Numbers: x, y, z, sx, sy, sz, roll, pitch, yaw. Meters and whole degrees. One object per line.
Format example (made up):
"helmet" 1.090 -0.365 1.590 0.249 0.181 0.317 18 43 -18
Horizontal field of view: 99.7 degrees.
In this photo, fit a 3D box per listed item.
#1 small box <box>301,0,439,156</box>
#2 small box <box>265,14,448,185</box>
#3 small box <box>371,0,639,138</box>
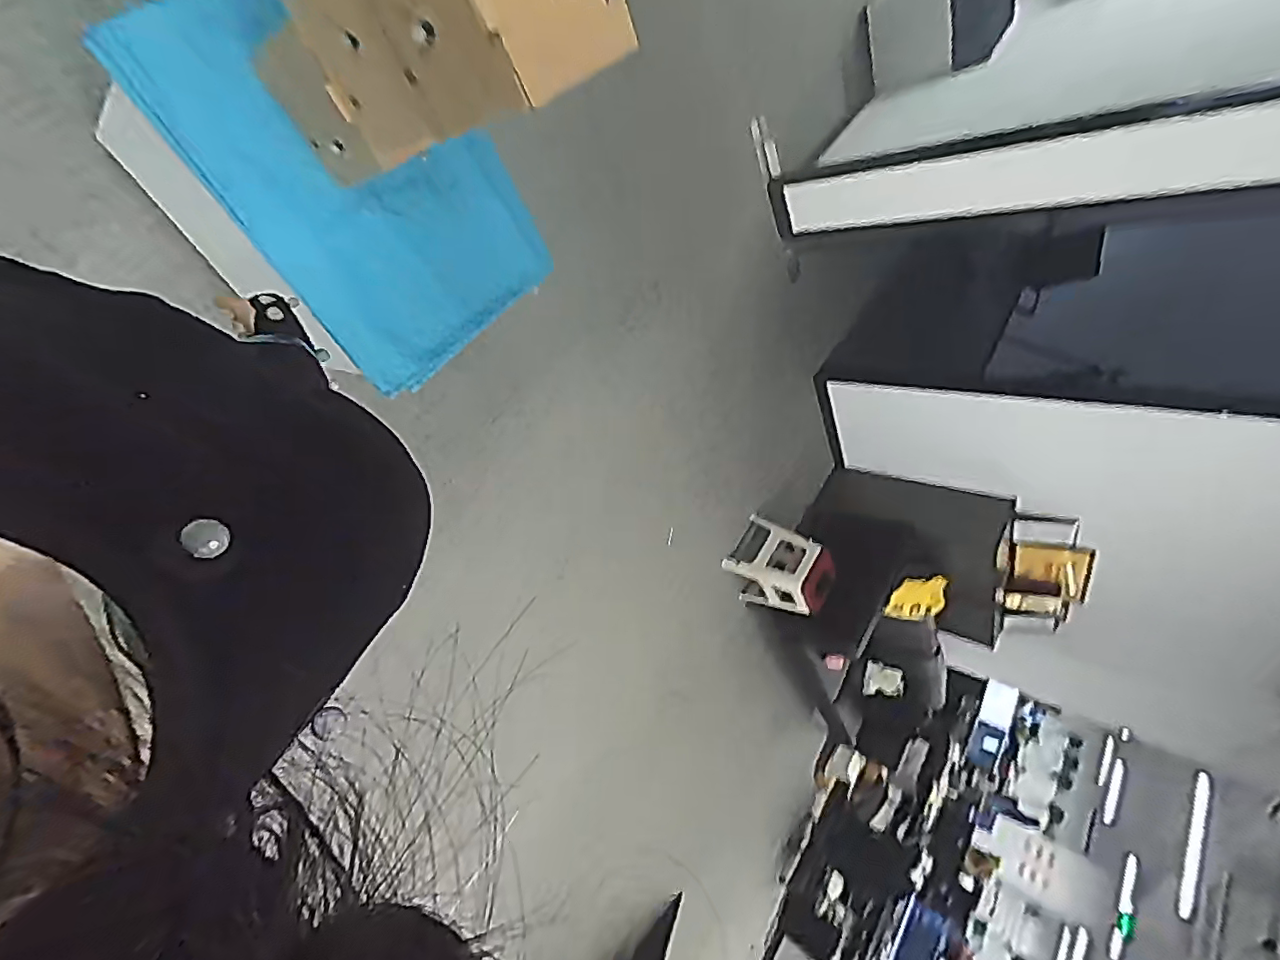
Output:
"small box" -0.254 -0.504 0.626 0.179 0.176 0.168 -50 135 -28
"small box" -0.369 -0.529 0.738 0.179 0.176 0.168 -51 135 -27
"small box" -0.136 -0.459 0.520 0.179 0.176 0.168 -49 134 -27
